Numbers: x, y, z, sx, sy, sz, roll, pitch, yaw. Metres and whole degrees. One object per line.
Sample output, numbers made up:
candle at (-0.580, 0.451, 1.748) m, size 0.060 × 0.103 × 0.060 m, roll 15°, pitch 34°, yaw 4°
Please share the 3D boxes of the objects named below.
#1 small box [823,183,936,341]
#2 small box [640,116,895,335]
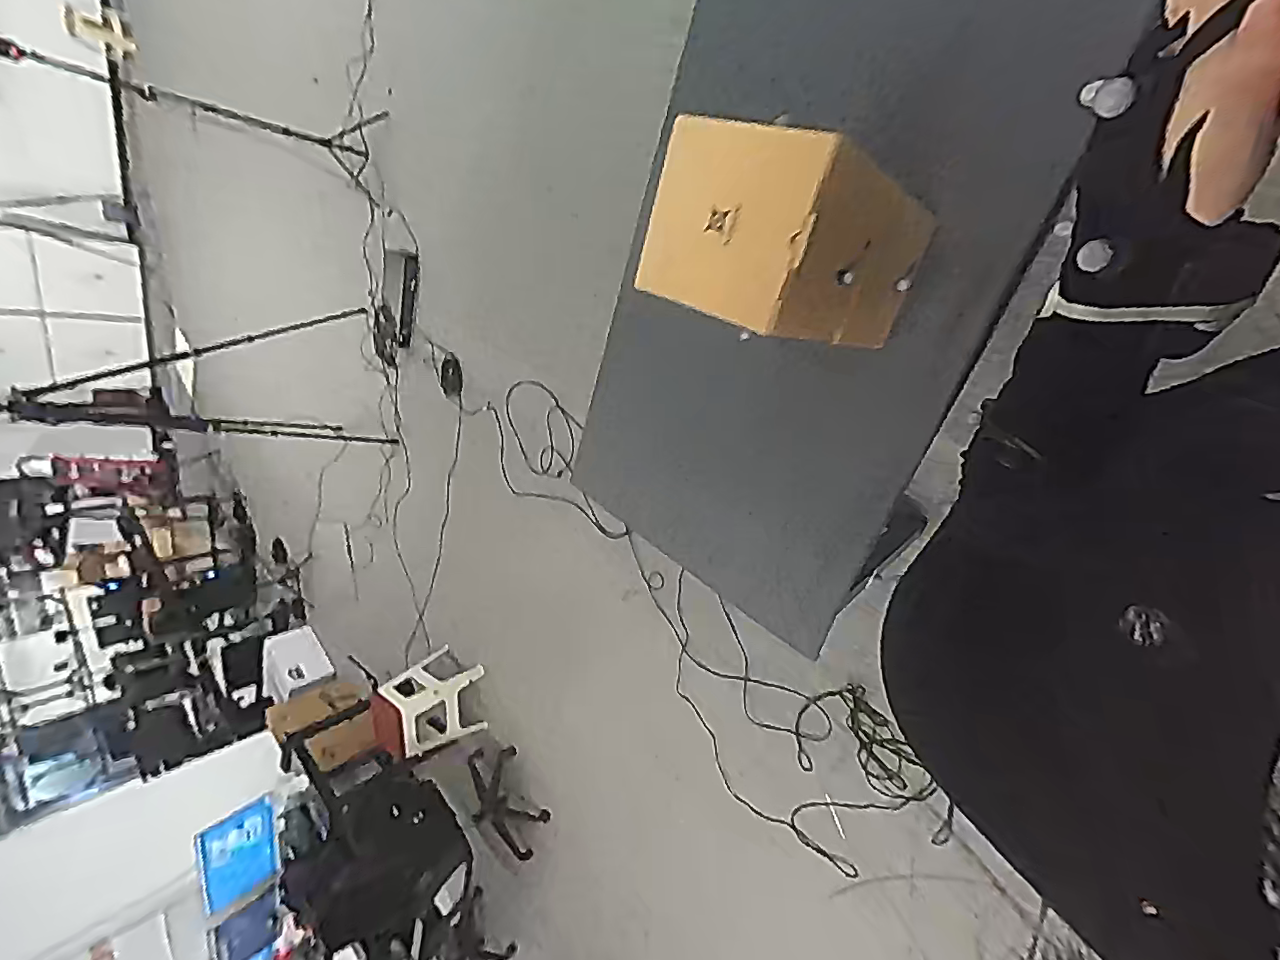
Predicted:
small box at (0.240, -0.281, 0.693) m, size 0.179 × 0.176 × 0.168 m, roll 32°, pitch 118°, yaw 33°
small box at (0.133, -0.258, 0.573) m, size 0.179 × 0.176 × 0.168 m, roll 31°, pitch 117°, yaw 33°
